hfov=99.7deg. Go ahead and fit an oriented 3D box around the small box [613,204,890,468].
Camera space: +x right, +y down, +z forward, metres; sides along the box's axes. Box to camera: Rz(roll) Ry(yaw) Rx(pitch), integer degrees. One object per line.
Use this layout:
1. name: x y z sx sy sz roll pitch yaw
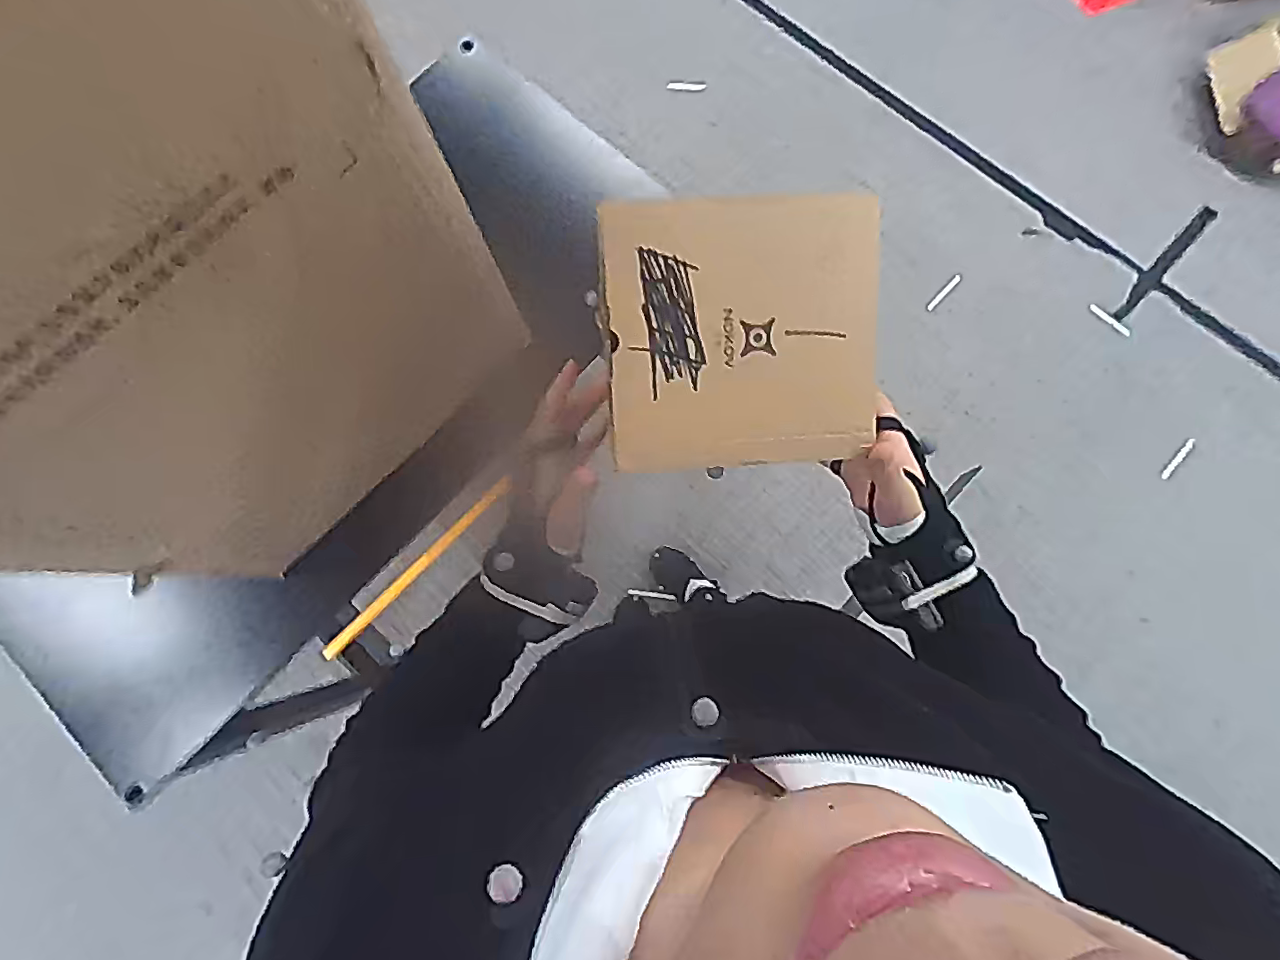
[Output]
1. small box: 0.069 -0.099 0.424 0.179 0.176 0.168 -3 97 -4
